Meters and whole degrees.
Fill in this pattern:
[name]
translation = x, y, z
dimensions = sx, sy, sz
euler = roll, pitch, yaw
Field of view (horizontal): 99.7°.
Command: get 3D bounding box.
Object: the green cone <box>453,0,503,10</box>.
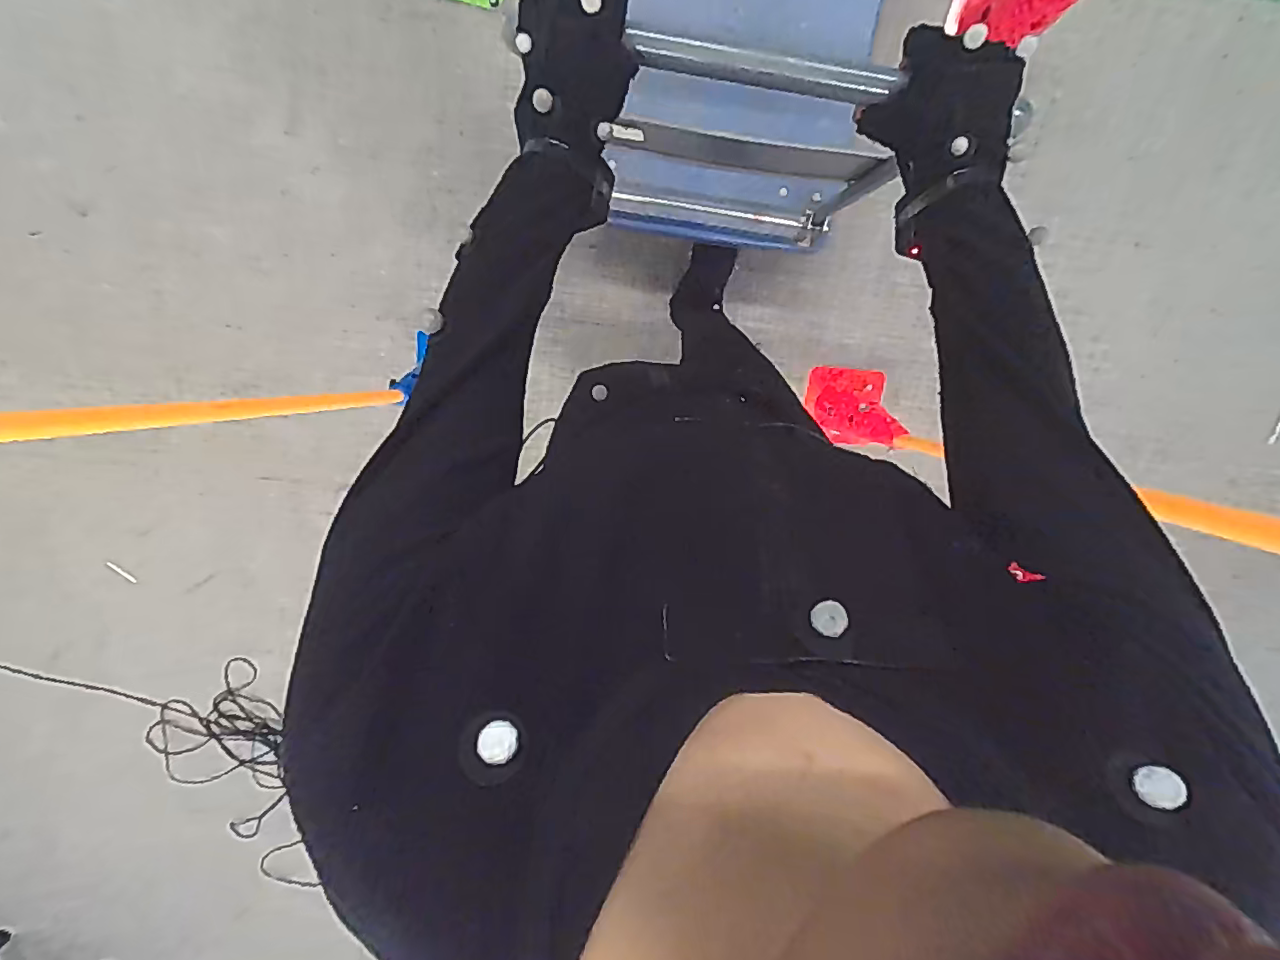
[green cone]
translation = -0.372, -1.058, 0.955
dimensions = 0.202, 0.368, 0.200
euler = 11, 107, -3

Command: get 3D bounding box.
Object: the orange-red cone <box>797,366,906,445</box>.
[orange-red cone]
translation = 0.524, -0.143, 1.269
dimensions = 0.199, 0.360, 0.198
euler = 6, 108, -1
